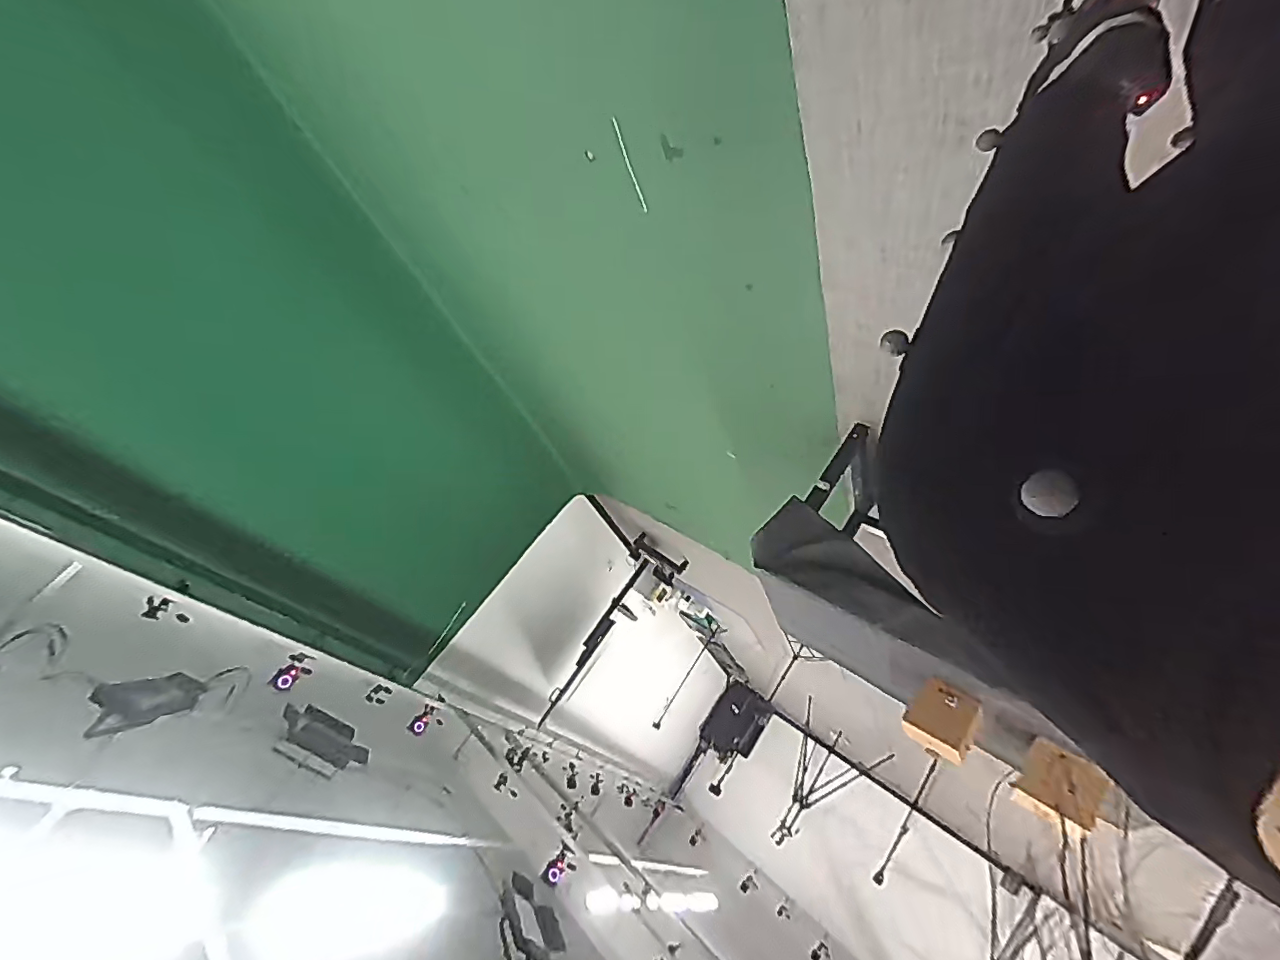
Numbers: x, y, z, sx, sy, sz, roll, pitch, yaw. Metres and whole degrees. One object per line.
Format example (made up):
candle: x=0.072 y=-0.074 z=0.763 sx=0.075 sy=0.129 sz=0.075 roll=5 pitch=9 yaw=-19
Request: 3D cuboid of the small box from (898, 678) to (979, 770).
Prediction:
small box: x=0.918 y=0.741 z=1.653 sx=0.168 sy=0.176 sz=0.179 roll=20 pitch=154 yaw=44

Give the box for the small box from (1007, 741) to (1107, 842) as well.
small box: x=1.133 y=0.844 z=1.472 sx=0.168 sy=0.176 sz=0.179 roll=25 pitch=159 yaw=38
